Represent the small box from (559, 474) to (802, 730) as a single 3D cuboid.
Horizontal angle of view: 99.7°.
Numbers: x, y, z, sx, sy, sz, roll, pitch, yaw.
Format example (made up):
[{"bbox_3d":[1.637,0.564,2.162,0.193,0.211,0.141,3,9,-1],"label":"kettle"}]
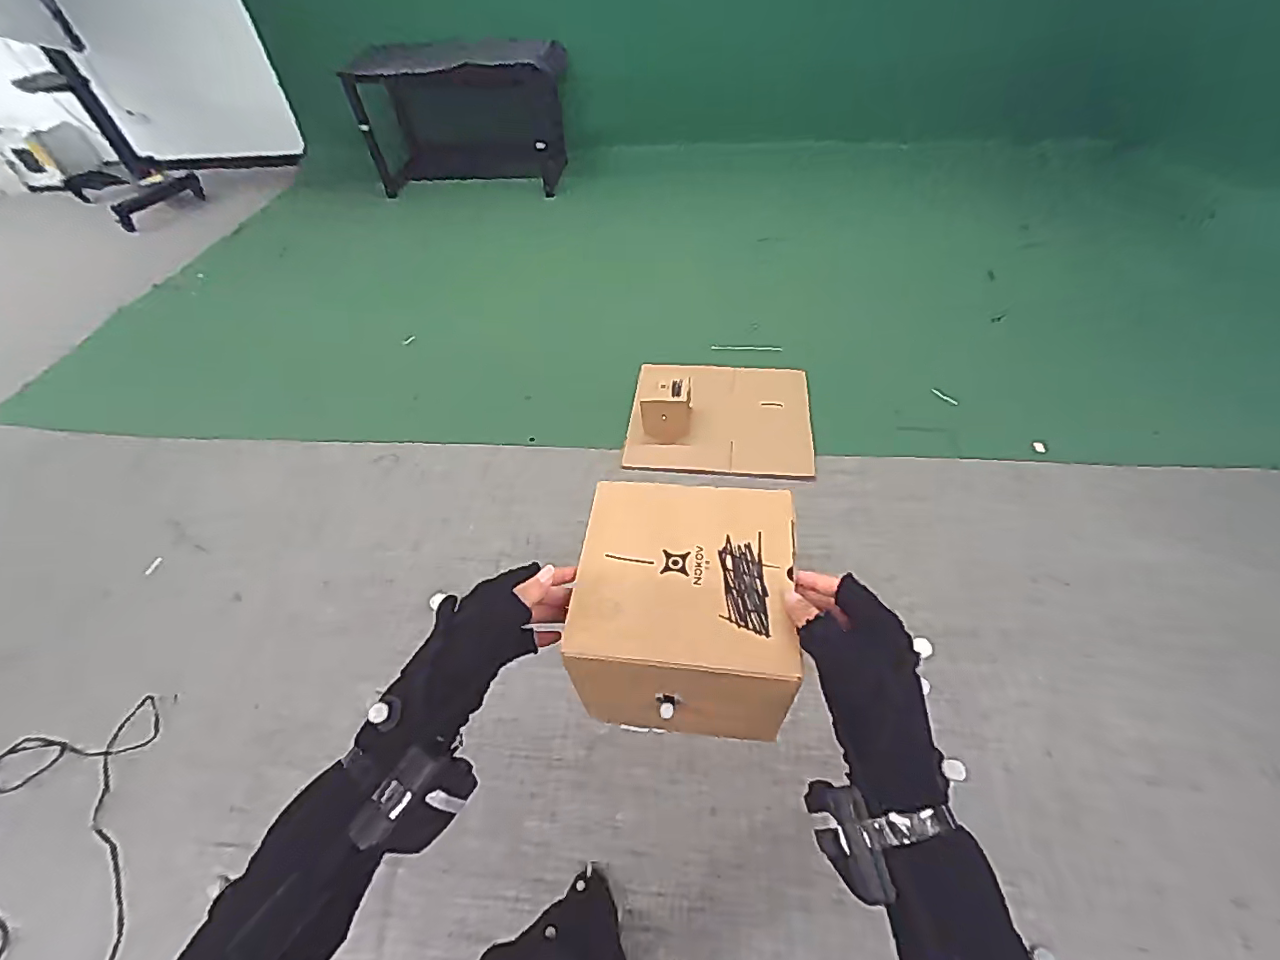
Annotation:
[{"bbox_3d":[0.042,0.115,0.495,0.179,0.176,0.168,4,50,8],"label":"small box"}]
